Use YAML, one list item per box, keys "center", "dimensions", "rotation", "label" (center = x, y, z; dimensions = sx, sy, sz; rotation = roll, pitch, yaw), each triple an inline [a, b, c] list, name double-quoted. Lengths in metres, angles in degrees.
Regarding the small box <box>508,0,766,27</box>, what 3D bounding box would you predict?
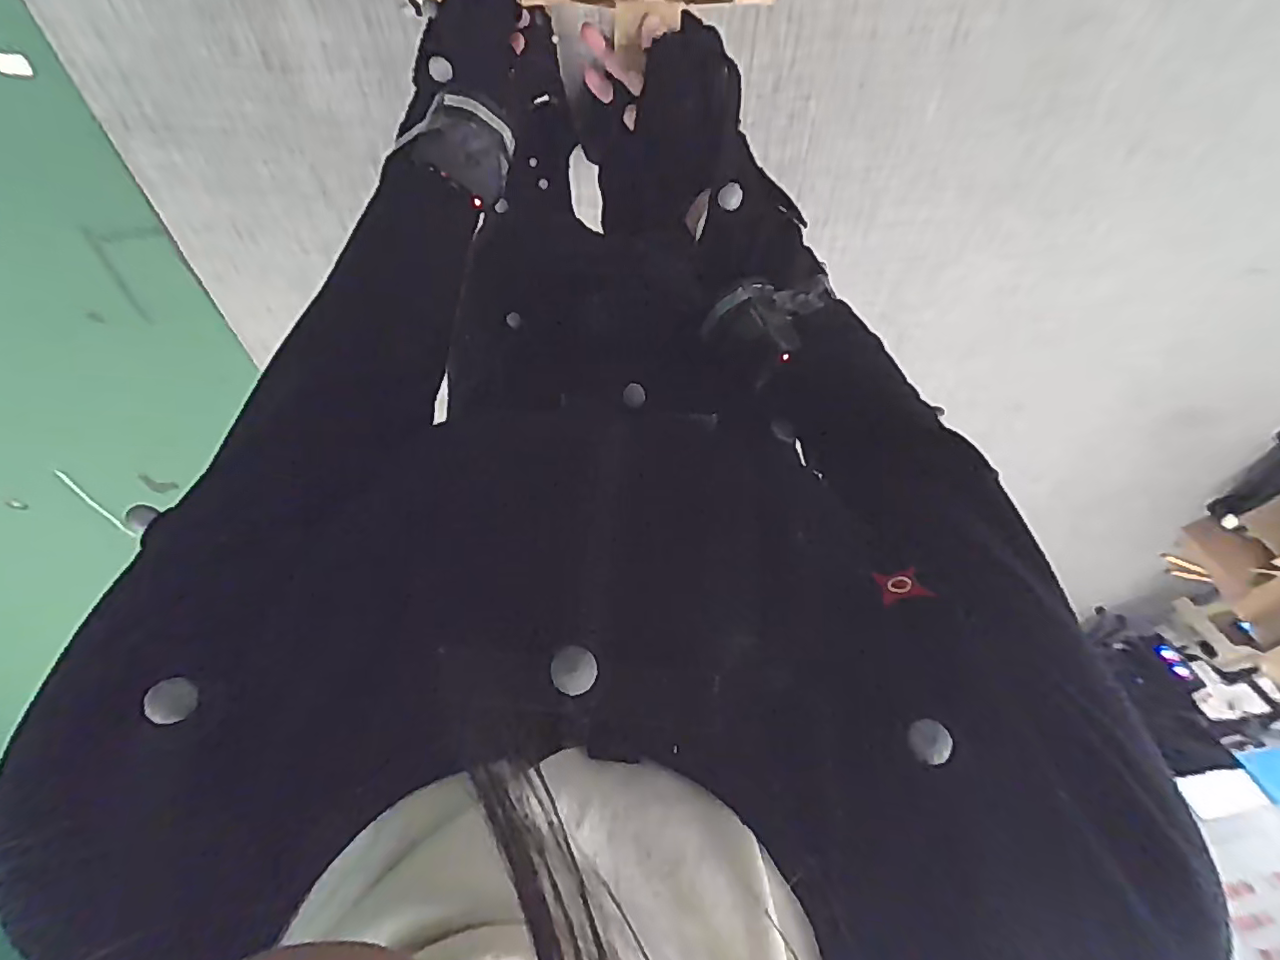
- center: [-0.010, -0.408, 0.329]
  dimensions: [0.168, 0.176, 0.179]
  rotation: [-8, 141, -7]
  label: "small box"
